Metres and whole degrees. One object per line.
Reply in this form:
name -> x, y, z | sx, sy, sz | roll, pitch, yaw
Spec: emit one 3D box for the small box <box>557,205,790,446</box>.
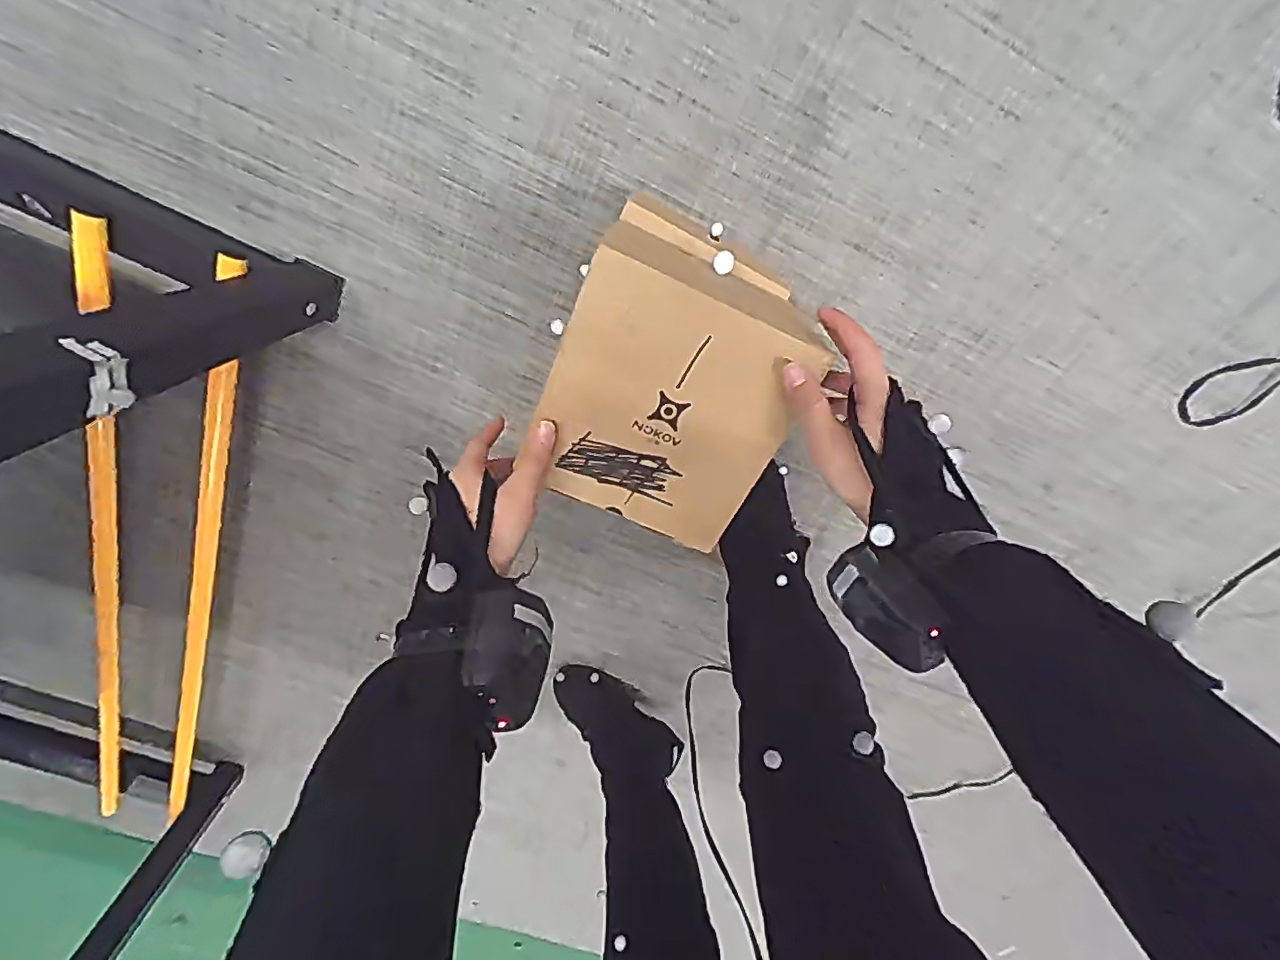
small box -> 0.030, -0.173, 0.579 | 0.168, 0.176, 0.179 | 25, 118, -10
